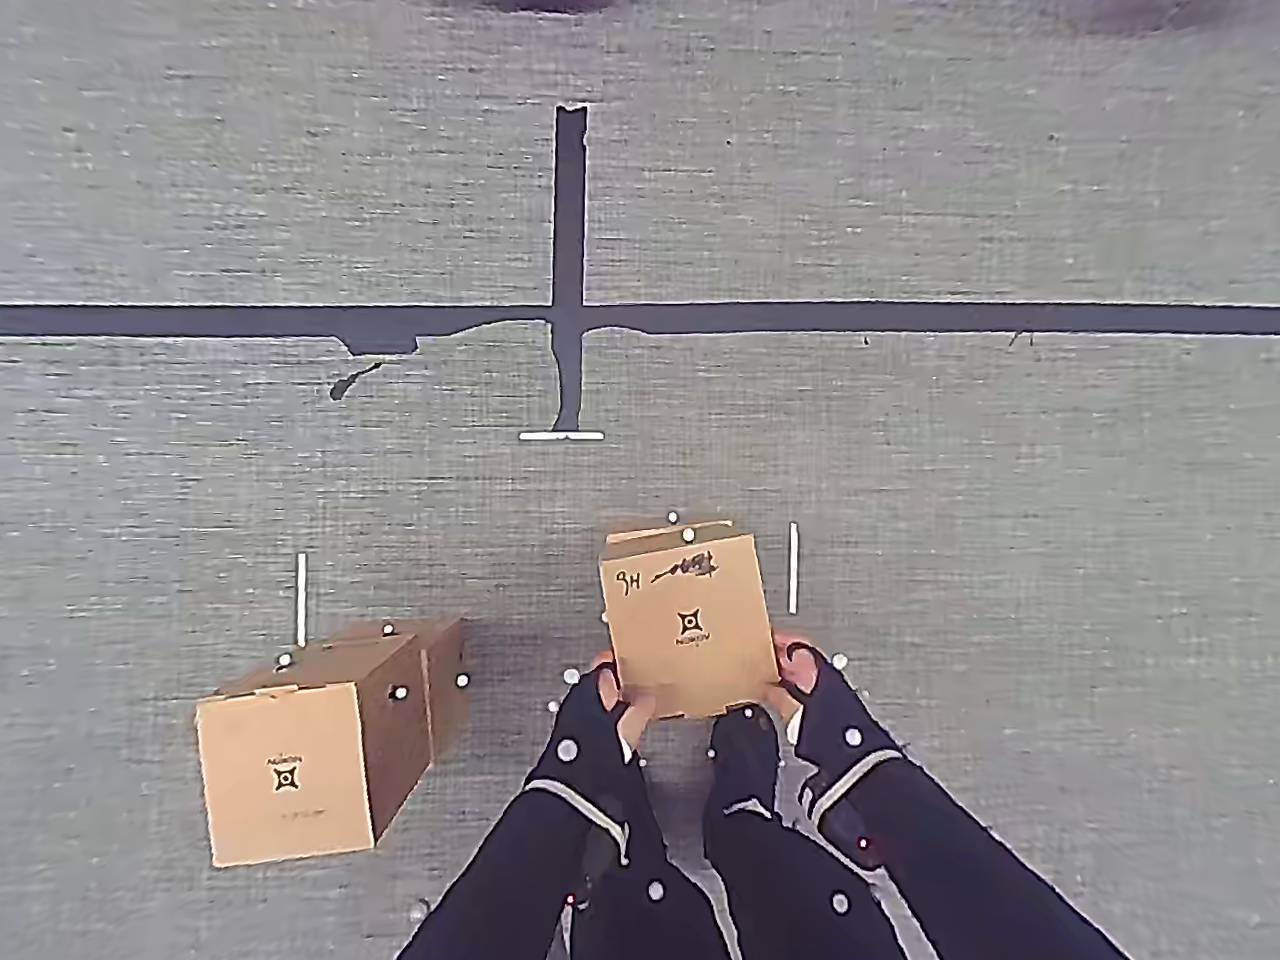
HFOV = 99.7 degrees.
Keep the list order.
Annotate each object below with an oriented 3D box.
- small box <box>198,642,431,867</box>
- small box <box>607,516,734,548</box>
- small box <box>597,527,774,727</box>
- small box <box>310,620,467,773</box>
[{"bbox_3d":[-0.361,0.300,0.632,0.168,0.176,0.179,-7,92,-1],"label":"small box"},{"bbox_3d":[0.043,0.148,0.813,0.179,0.176,0.168,-6,90,-2],"label":"small box"},{"bbox_3d":[0.048,0.160,0.642,0.168,0.176,0.179,-9,90,-1],"label":"small box"},{"bbox_3d":[-0.368,0.310,0.795,0.179,0.176,0.168,-3,91,-3],"label":"small box"}]
